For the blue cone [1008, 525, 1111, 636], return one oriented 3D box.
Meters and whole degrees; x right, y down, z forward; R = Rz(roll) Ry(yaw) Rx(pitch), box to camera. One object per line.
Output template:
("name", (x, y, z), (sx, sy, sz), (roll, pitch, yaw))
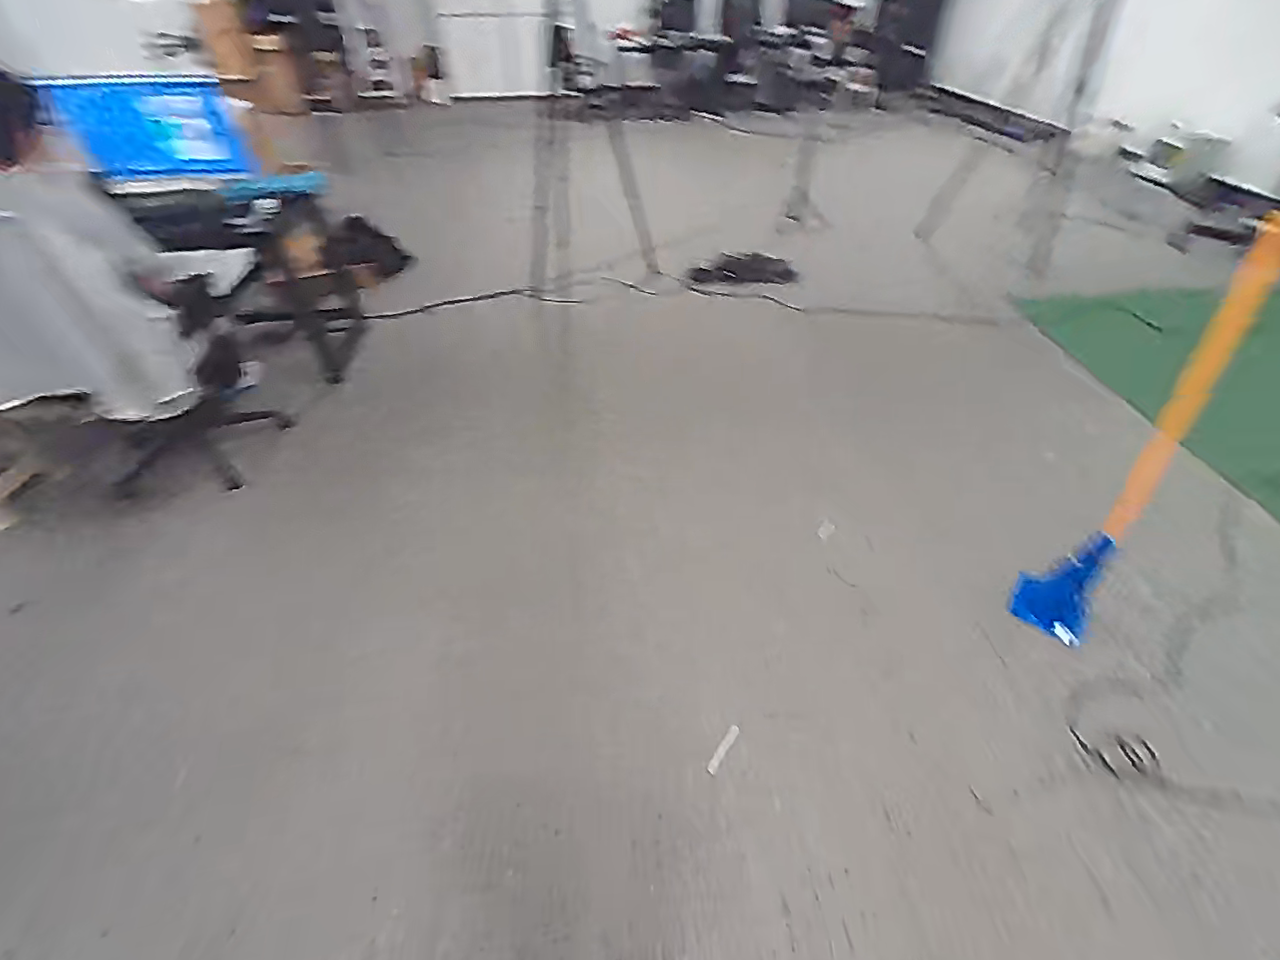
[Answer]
("blue cone", (1.281, 0.277, 1.609), (0.193, 0.380, 0.192), (26, 51, 28))
